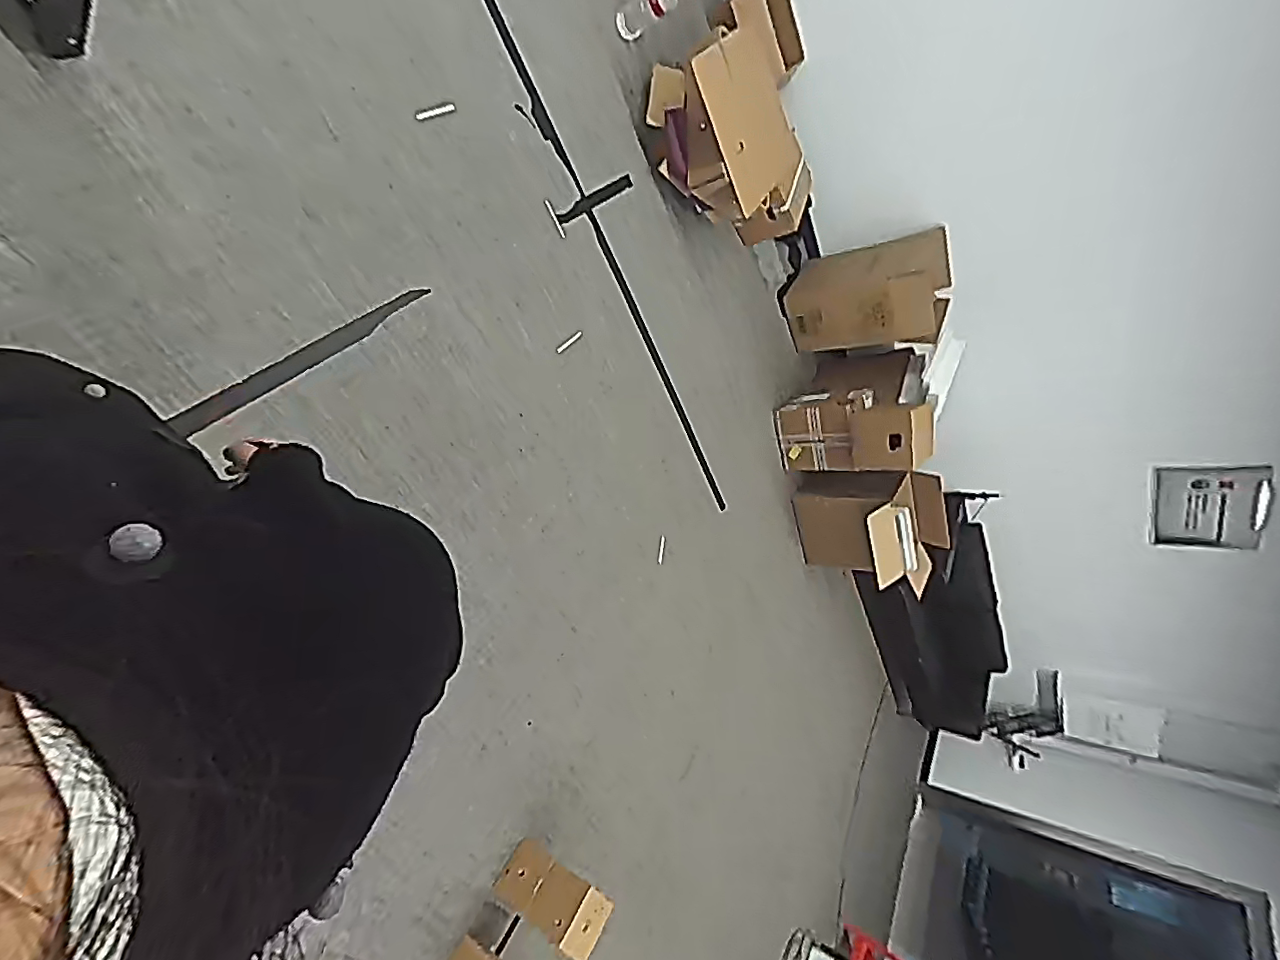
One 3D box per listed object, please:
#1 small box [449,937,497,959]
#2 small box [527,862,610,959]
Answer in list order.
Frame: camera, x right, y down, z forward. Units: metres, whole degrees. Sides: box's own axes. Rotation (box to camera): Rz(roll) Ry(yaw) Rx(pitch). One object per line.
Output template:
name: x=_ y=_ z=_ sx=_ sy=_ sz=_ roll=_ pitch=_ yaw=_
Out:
small box: x=-0.508 y=1.556 z=1.645 sx=0.179 sy=0.176 sz=0.168 roll=-53 pitch=127 yaw=-37
small box: x=-0.235 y=1.369 z=1.713 sx=0.179 sy=0.176 sz=0.168 roll=-51 pitch=127 yaw=-37
